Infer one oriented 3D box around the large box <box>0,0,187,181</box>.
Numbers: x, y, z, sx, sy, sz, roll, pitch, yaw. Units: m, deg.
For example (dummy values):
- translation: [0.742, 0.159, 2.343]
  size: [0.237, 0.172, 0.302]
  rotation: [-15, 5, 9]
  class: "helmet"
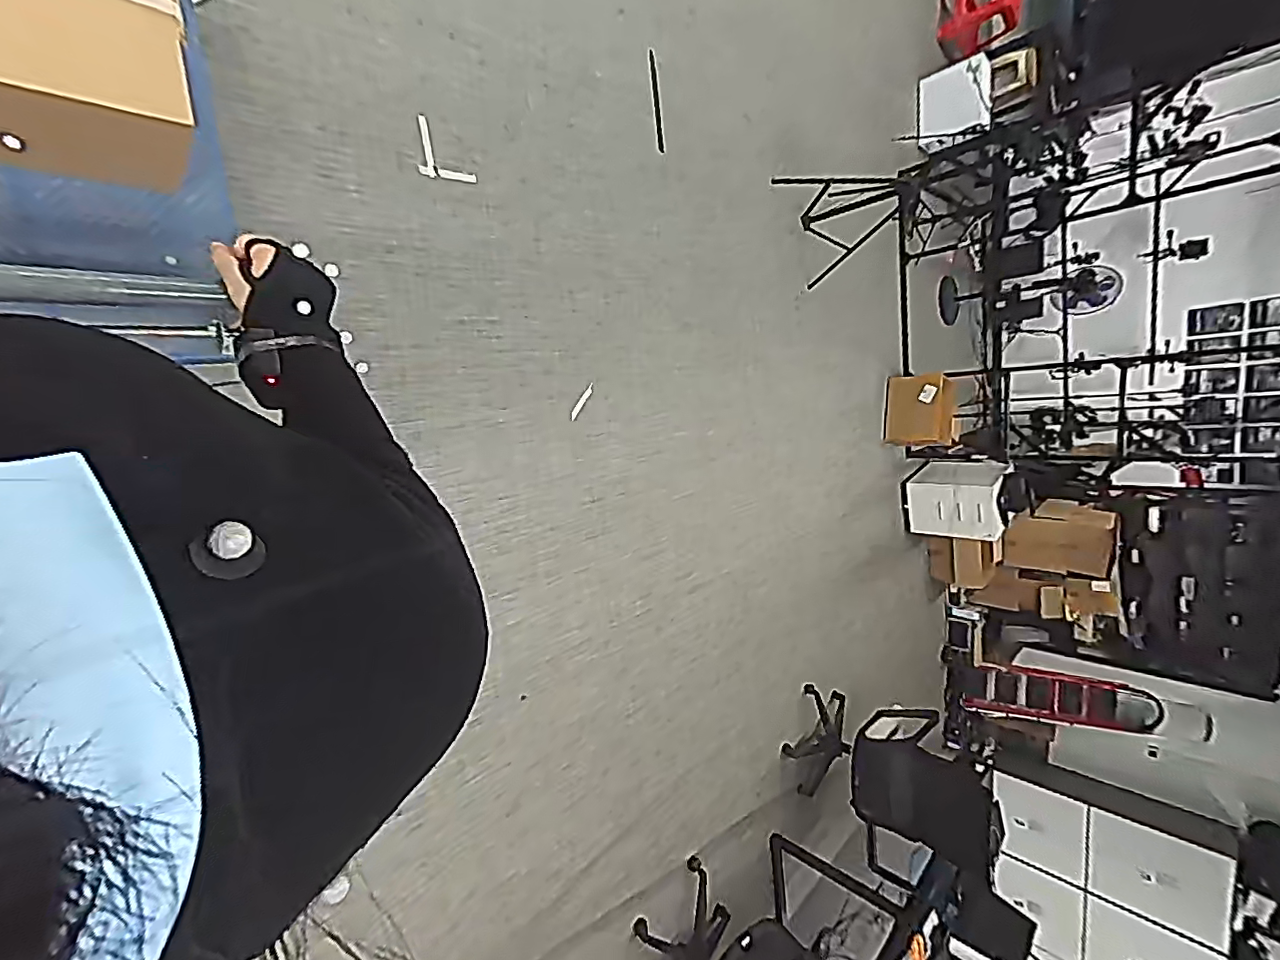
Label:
- translation: [-0.936, -0.669, 0.764]
  size: [0.408, 0.320, 0.320]
  rotation: [-12, 100, -42]
  class: "large box"
